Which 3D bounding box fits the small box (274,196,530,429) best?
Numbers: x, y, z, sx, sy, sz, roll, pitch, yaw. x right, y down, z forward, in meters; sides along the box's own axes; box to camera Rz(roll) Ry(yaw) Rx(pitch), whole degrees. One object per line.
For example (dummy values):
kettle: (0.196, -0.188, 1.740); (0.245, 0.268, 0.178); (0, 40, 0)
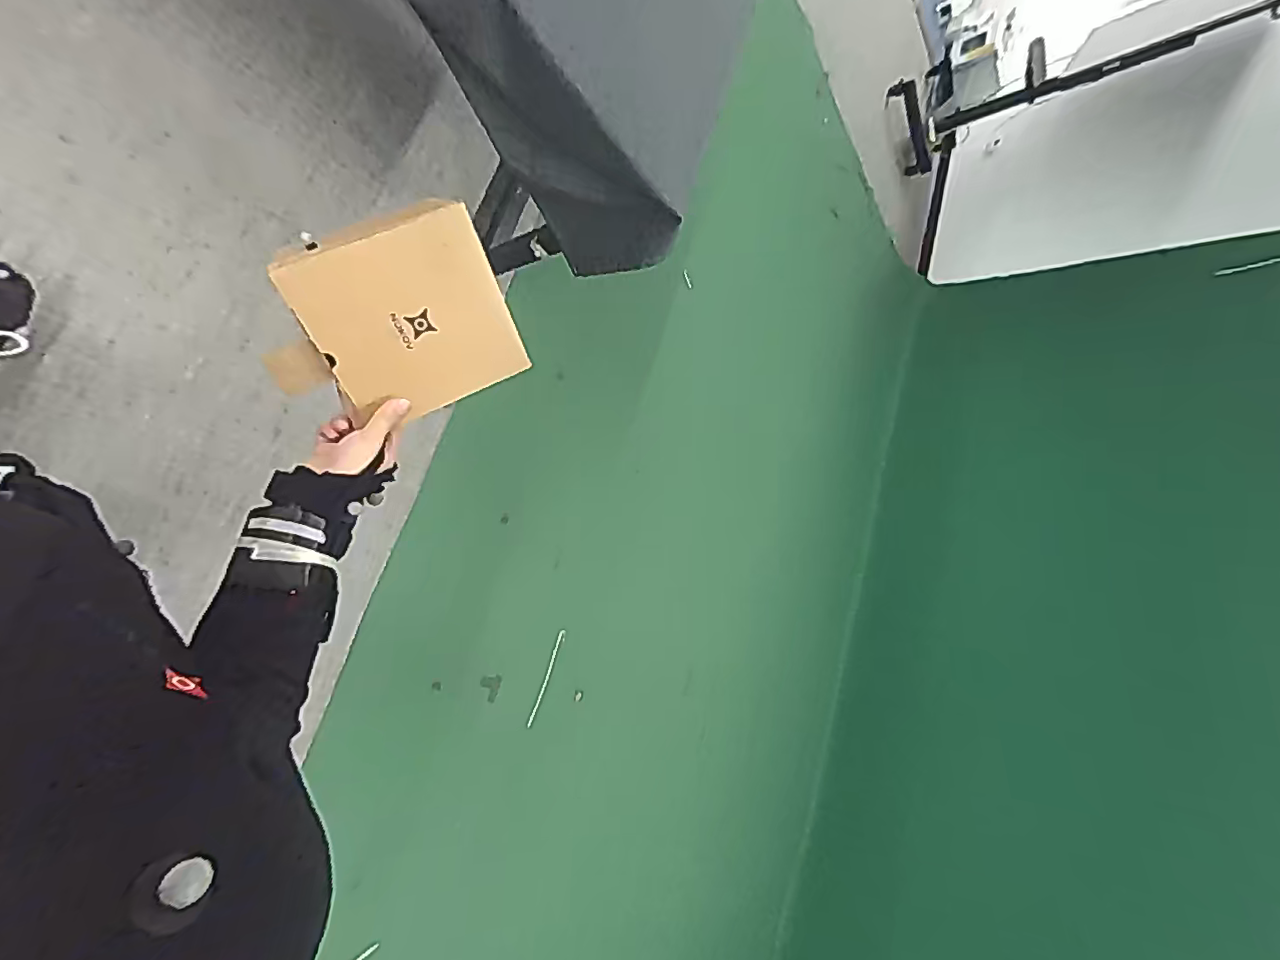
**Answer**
small box: (-0.244, -0.186, 0.568); (0.179, 0.176, 0.168); (-27, 127, -14)
